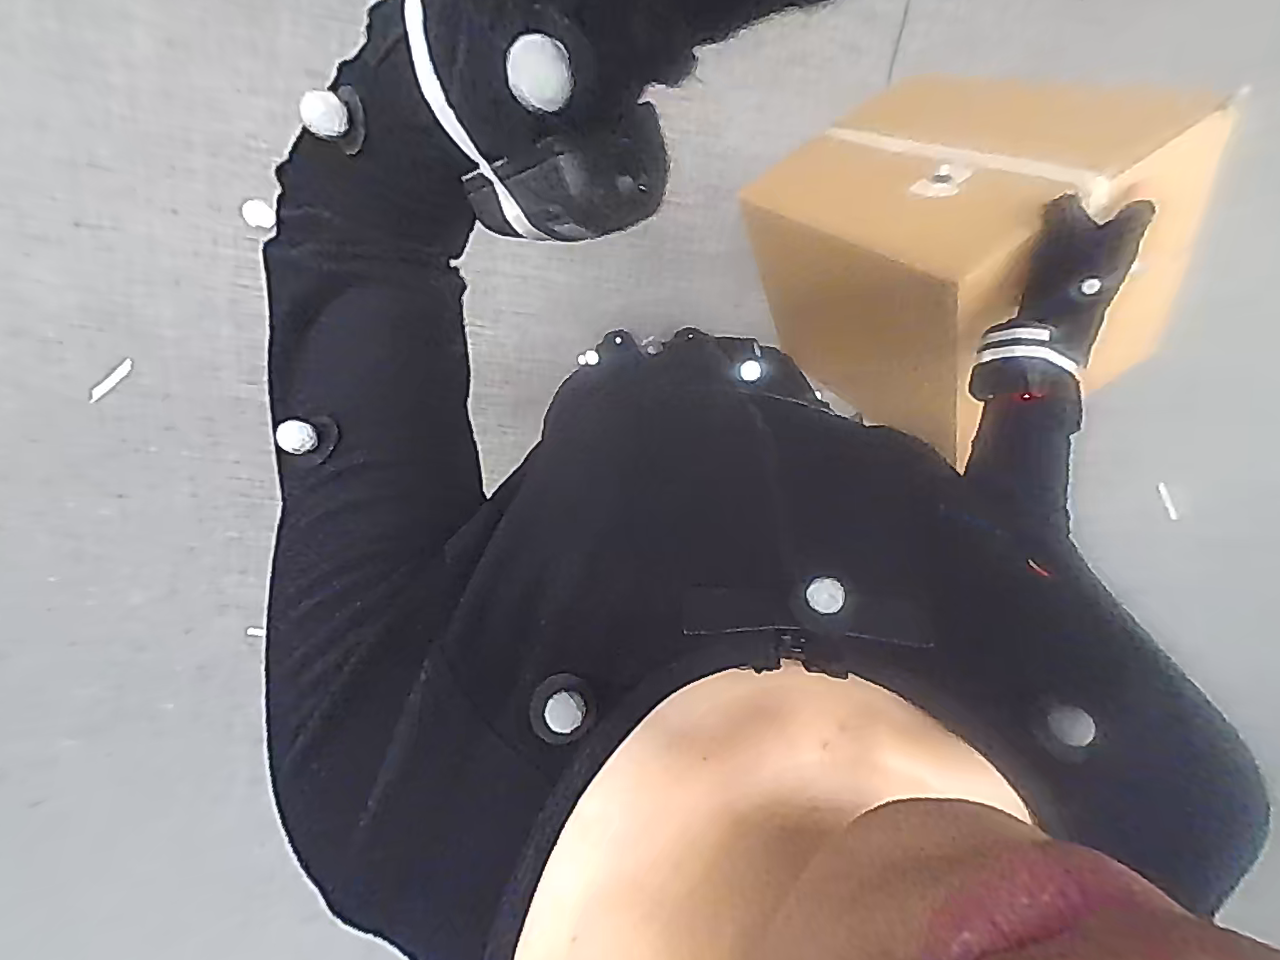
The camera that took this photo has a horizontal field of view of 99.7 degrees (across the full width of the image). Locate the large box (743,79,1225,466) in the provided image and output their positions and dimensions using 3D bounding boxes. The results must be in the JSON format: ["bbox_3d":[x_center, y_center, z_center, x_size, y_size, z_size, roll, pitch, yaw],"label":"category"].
[{"bbox_3d":[0.406,-0.297,0.754,0.320,0.408,0.320,-34,135,1],"label":"large box"}]
